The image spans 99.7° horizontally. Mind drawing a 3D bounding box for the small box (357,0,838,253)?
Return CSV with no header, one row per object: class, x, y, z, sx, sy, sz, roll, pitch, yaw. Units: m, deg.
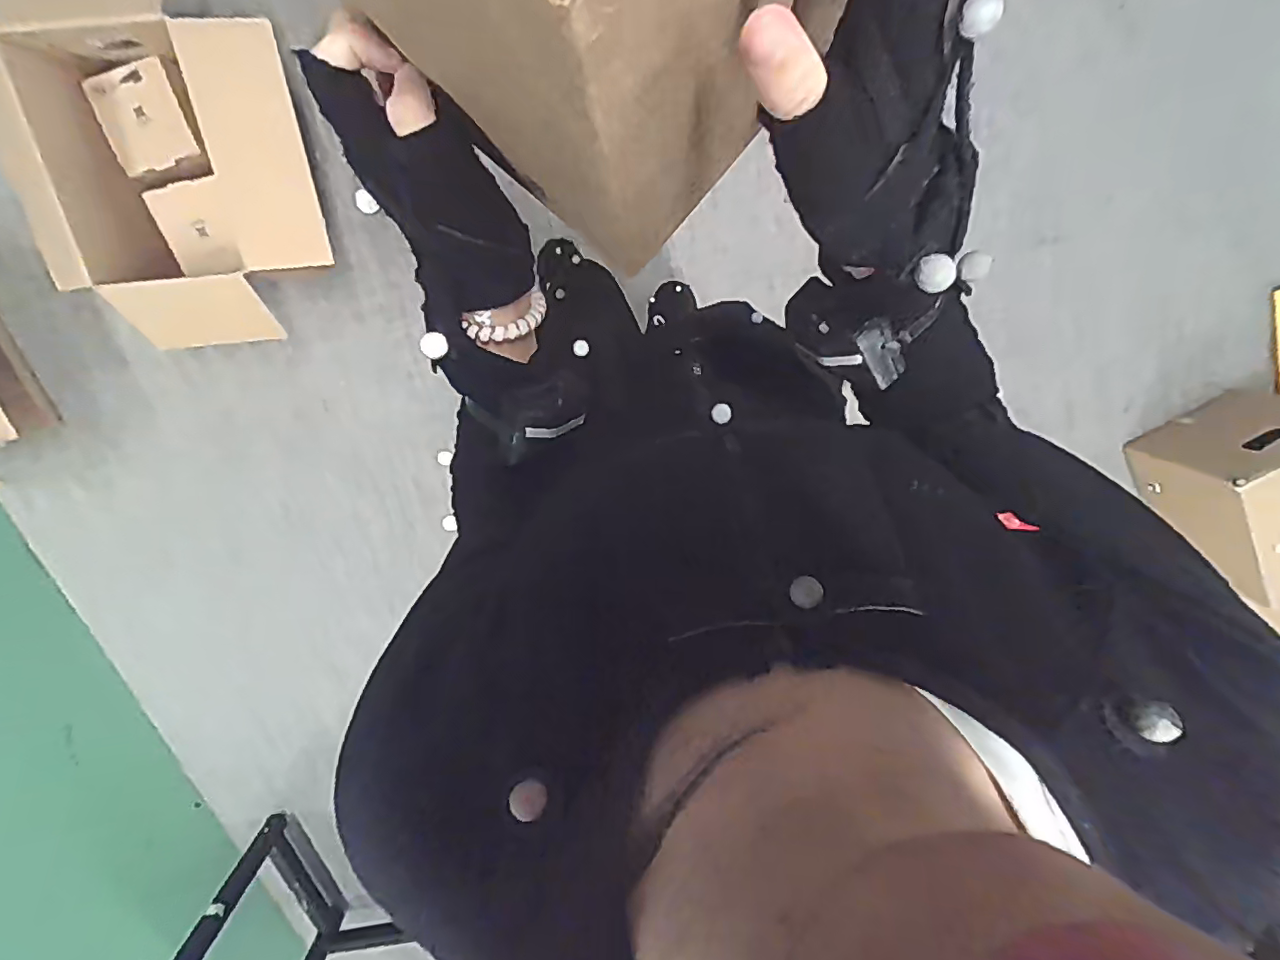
small box,-0.018,-0.225,0.202,0.168,0.176,0.179,42,94,4
